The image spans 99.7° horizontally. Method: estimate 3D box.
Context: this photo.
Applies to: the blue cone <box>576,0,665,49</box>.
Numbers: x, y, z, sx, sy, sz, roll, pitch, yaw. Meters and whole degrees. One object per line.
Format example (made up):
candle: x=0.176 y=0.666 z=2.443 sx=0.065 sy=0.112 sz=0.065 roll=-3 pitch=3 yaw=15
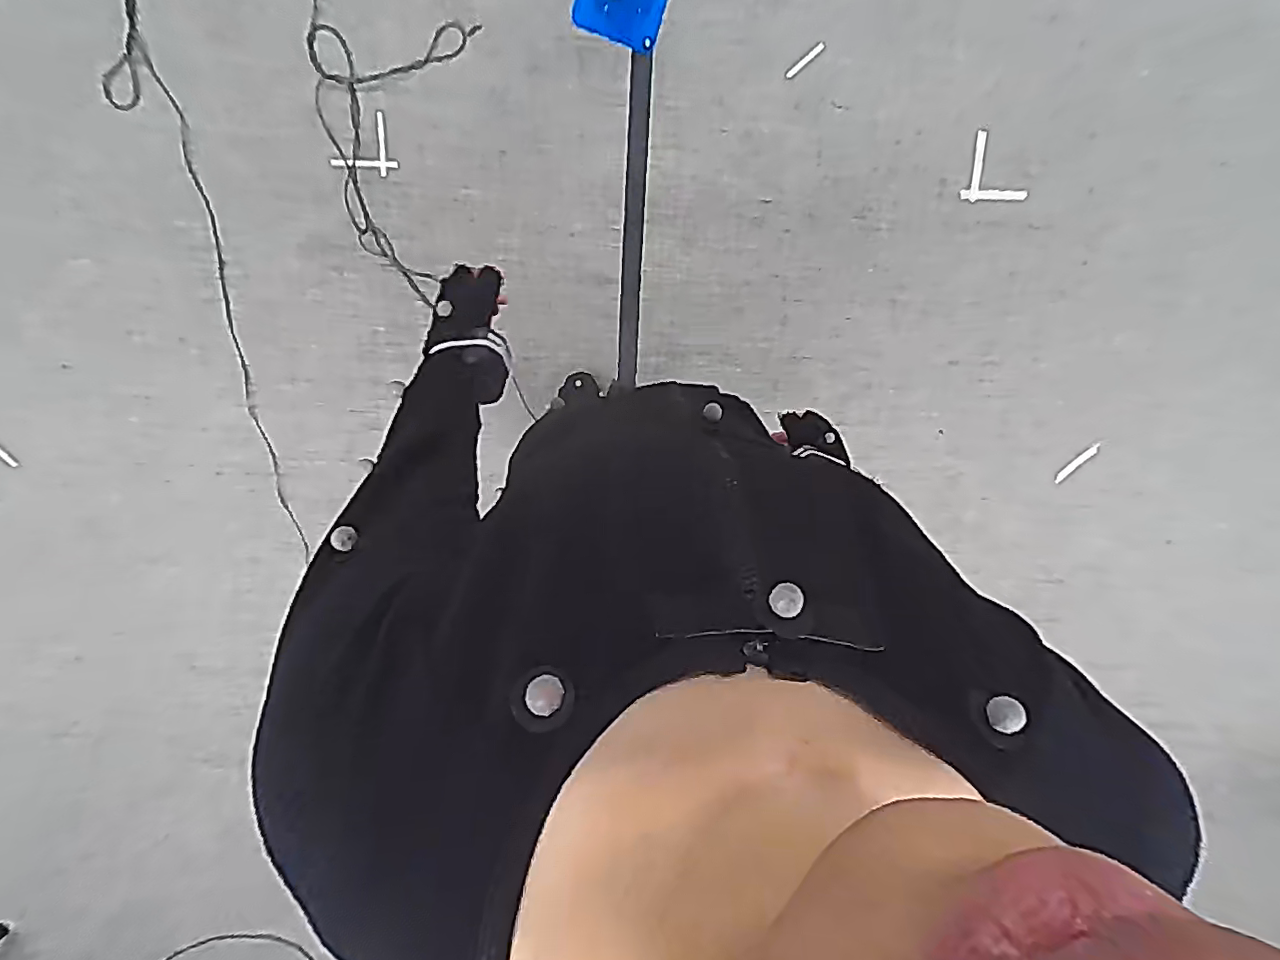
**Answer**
blue cone: x=-0.026 y=-1.070 z=1.068 sx=0.192 sy=0.380 sz=0.193 roll=17 pitch=101 yaw=-9
